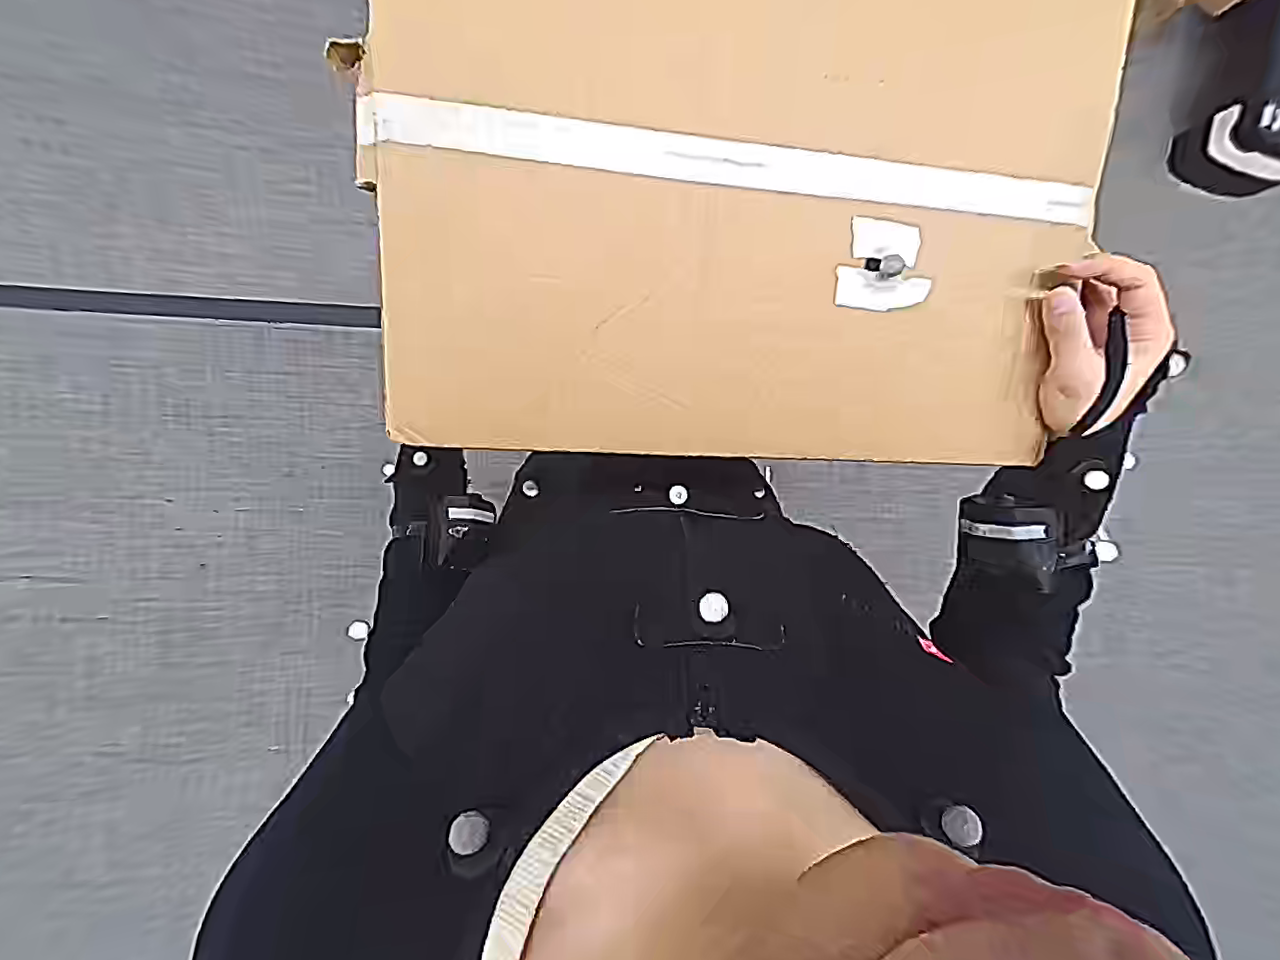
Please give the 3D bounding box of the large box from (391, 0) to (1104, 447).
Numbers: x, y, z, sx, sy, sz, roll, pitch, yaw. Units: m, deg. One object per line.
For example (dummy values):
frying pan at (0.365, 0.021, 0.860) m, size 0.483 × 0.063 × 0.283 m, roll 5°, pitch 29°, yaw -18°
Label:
large box at (0.044, -0.201, 0.445) m, size 0.408 × 0.320 × 0.320 m, roll 1°, pitch 102°, yaw -12°
